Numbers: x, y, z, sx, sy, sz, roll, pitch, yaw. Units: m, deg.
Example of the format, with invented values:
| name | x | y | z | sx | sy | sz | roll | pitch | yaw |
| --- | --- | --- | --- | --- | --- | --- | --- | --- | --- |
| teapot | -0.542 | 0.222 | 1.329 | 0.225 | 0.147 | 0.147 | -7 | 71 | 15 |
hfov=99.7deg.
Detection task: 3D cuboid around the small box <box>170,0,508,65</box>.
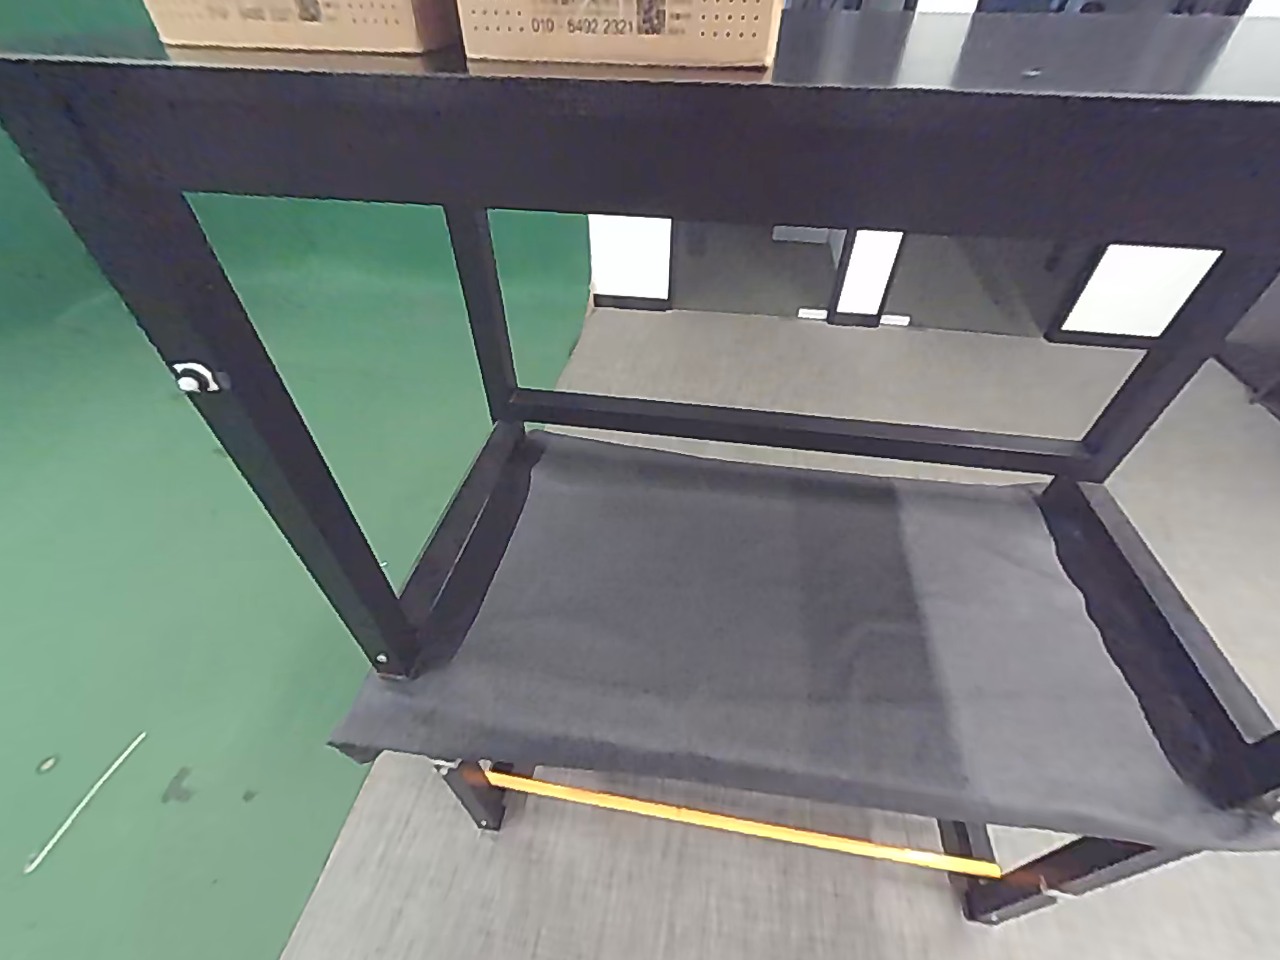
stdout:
| name | x | y | z | sx | sy | sz | roll | pitch | yaw |
| --- | --- | --- | --- | --- | --- | --- | --- | --- | --- |
| small box | -0.191 | -0.368 | 0.329 | 0.168 | 0.176 | 0.179 | 7 | 43 | 6 |
